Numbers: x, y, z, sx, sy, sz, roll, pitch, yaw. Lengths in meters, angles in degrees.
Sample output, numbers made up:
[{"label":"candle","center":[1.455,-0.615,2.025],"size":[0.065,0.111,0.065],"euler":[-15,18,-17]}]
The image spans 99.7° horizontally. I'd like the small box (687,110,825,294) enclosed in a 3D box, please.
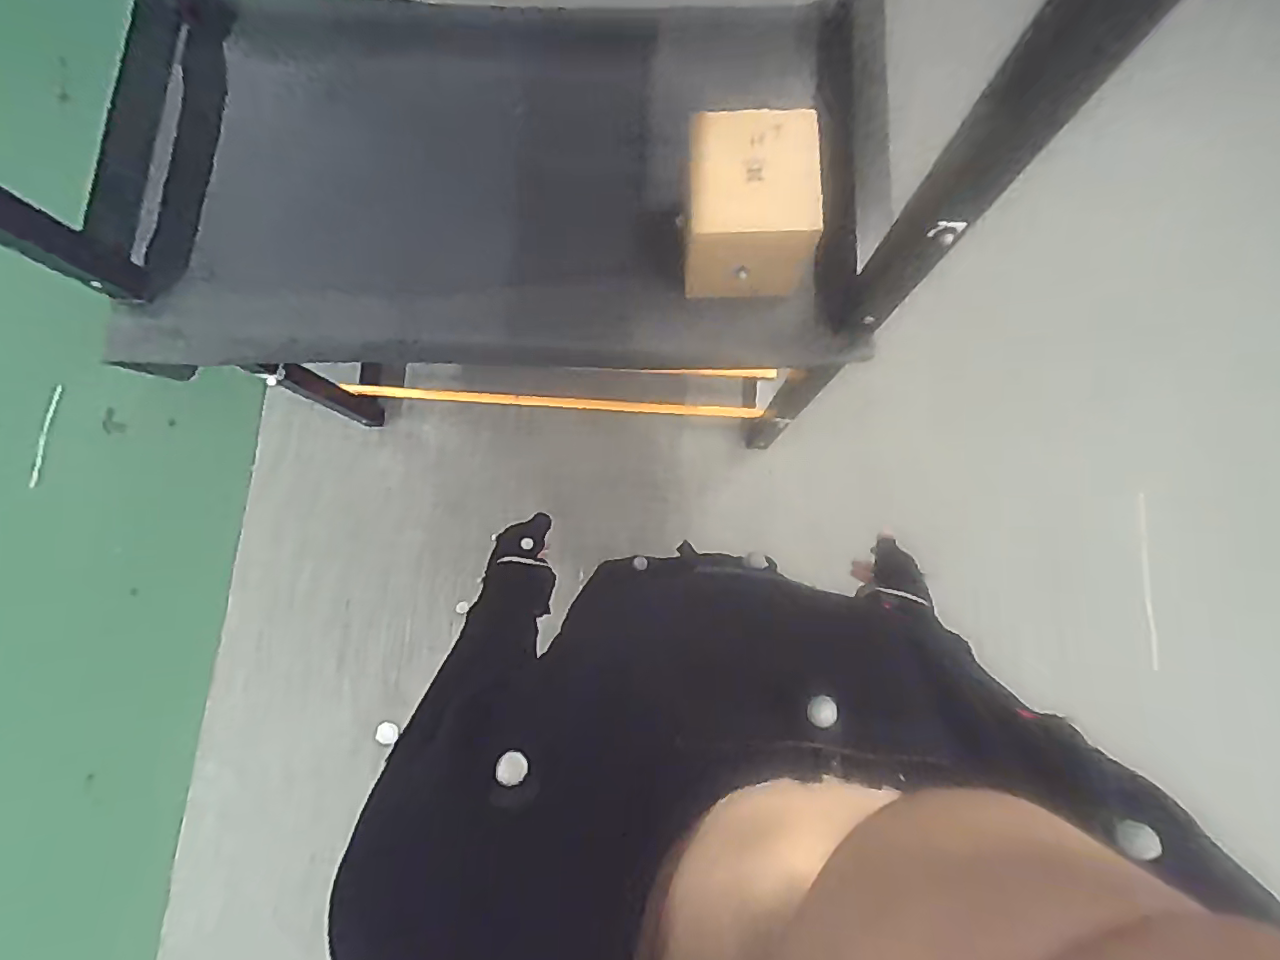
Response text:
[{"label":"small box","center":[0.156,-0.381,0.770],"size":[0.168,0.176,0.179],"euler":[0,81,2]}]
